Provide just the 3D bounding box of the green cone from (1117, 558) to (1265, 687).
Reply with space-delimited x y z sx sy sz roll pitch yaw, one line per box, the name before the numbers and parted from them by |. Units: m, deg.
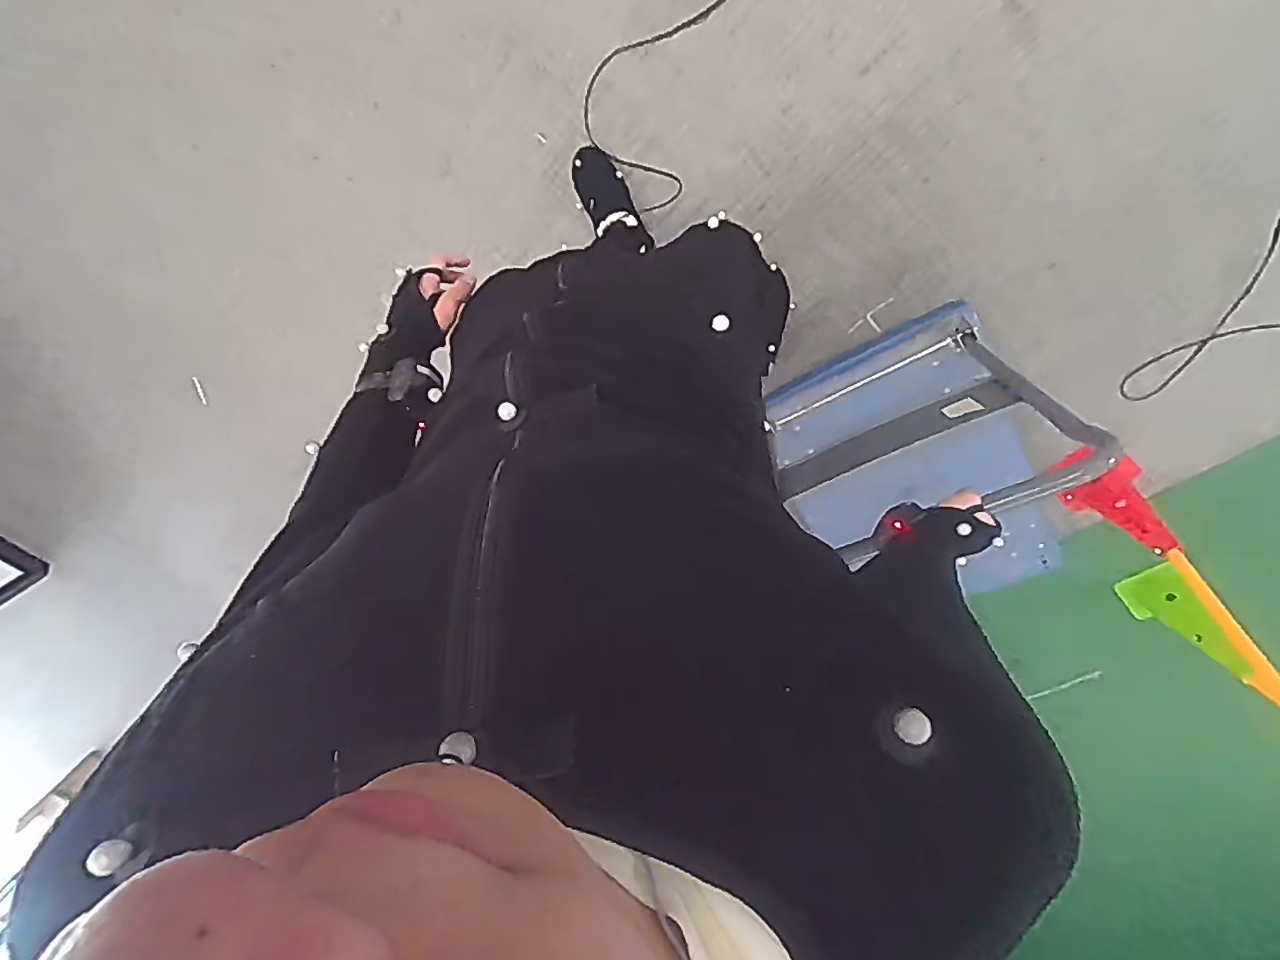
green cone | 1.645 0.440 1.582 0.202 0.368 0.200 41 118 -18
